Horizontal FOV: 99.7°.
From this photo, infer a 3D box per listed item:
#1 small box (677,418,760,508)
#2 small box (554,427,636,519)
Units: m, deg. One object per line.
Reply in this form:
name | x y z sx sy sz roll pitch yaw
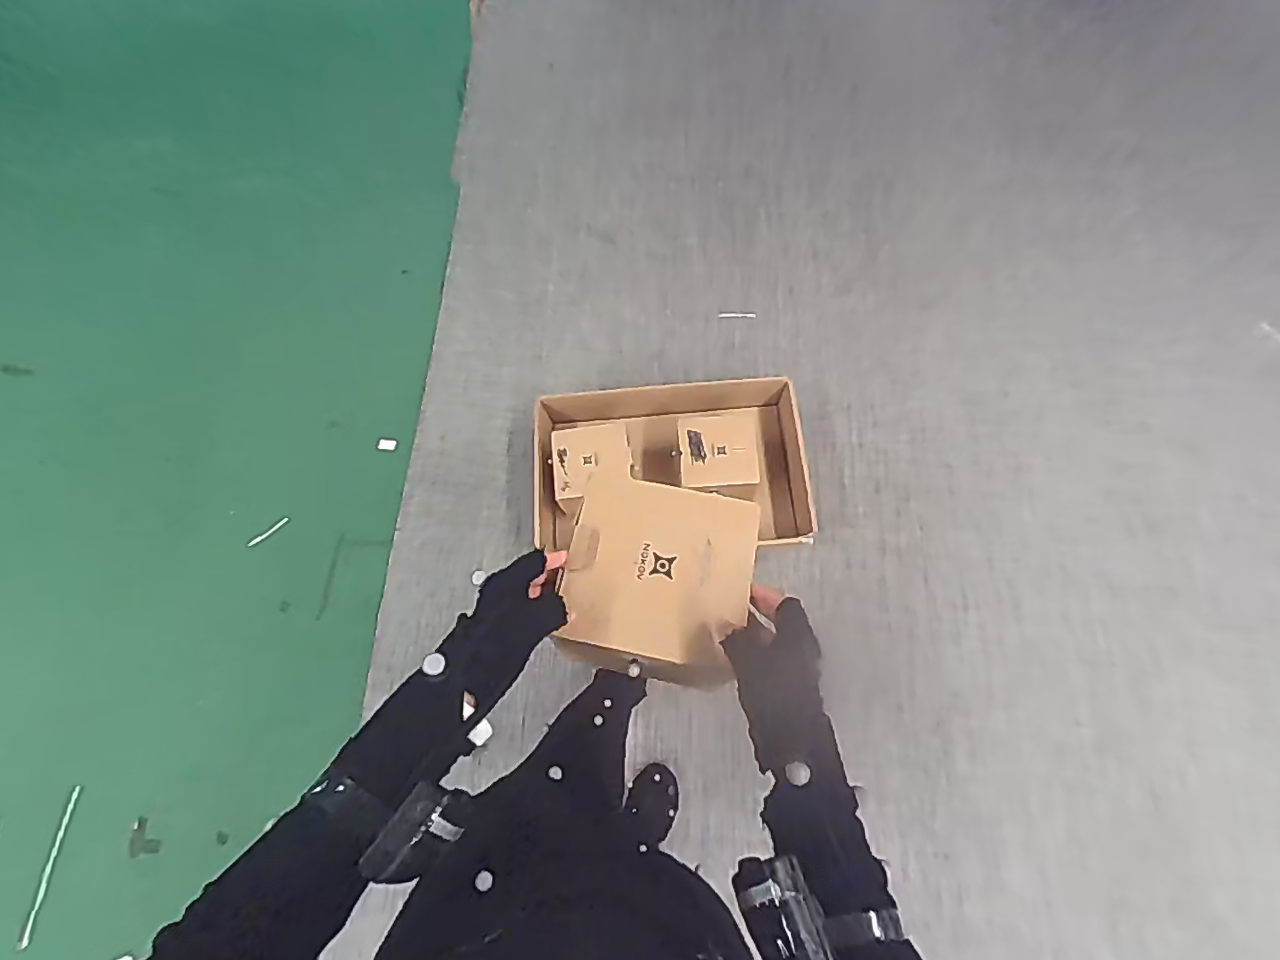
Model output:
small box | 0.178 -0.034 1.279 0.179 0.176 0.168 -3 72 2
small box | -0.103 -0.012 1.289 0.179 0.176 0.168 -7 72 0
